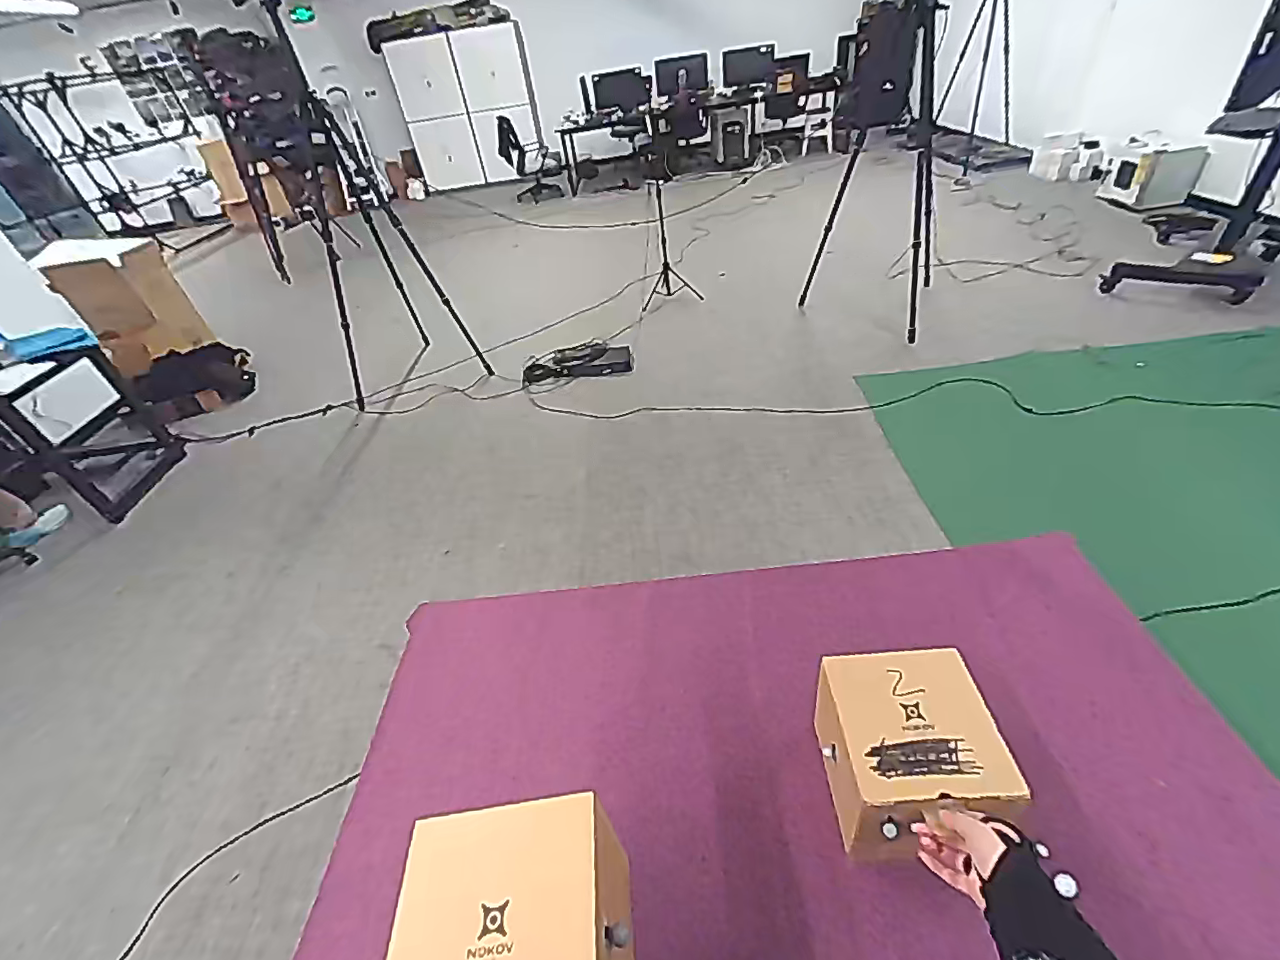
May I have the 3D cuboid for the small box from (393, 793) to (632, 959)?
[{"bbox_3d":[-0.102,0.414,0.481,0.168,0.176,0.179,-11,39,2],"label":"small box"}]
